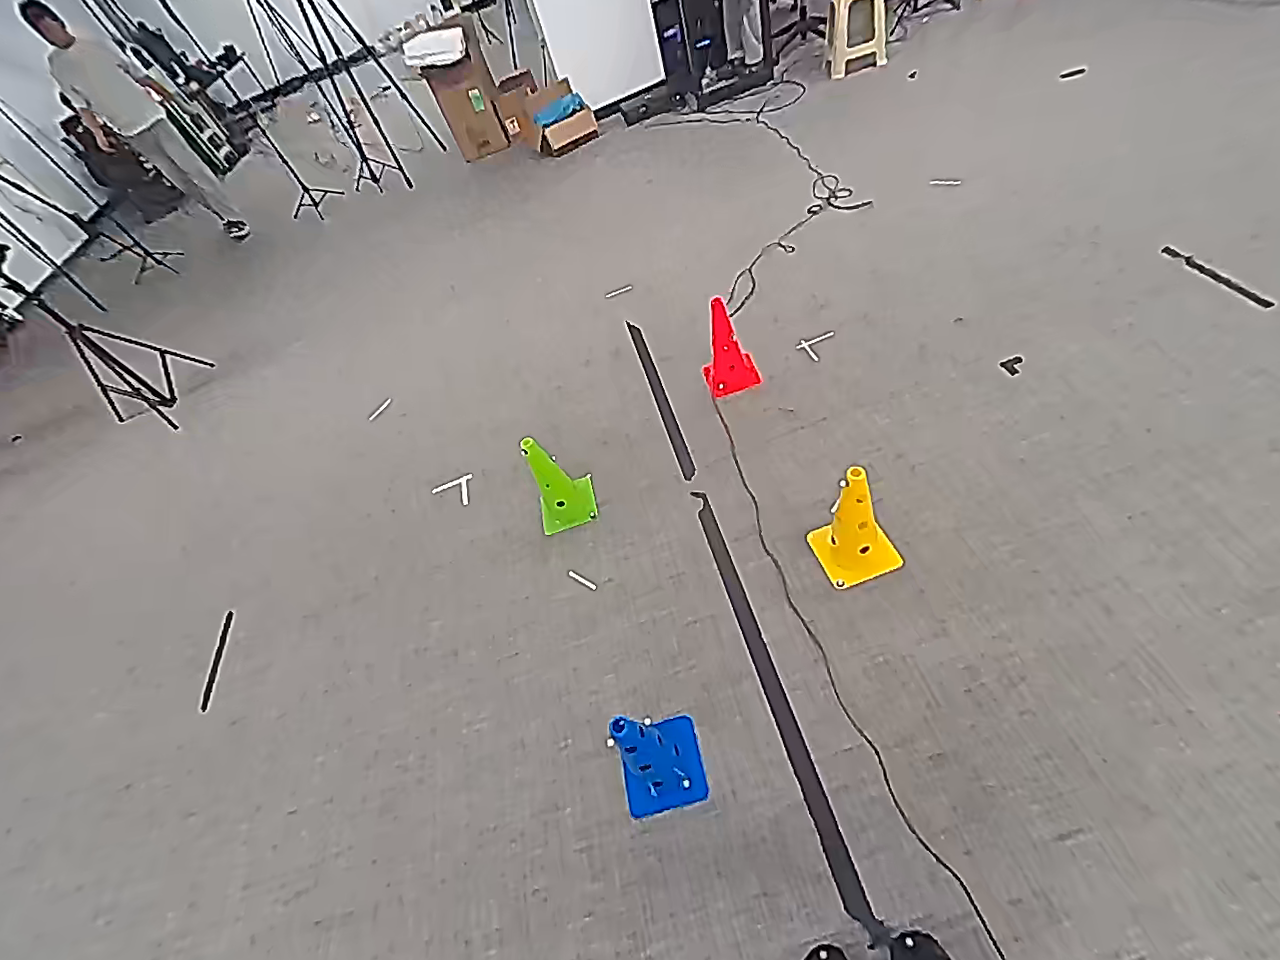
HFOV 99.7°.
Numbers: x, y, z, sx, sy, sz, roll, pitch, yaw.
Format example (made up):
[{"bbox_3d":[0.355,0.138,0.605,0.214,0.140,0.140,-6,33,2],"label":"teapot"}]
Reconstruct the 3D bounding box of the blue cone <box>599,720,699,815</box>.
[{"bbox_3d":[-0.003,0.607,1.217,0.192,0.380,0.193,-18,49,7],"label":"blue cone"}]

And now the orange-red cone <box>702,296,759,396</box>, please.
[{"bbox_3d":[0.307,-0.517,1.991,0.199,0.360,0.198,-16,51,6],"label":"orange-red cone"}]

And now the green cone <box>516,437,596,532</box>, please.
[{"bbox_3d":[-0.312,-0.019,1.815,0.202,0.368,0.200,-21,49,5],"label":"green cone"}]
